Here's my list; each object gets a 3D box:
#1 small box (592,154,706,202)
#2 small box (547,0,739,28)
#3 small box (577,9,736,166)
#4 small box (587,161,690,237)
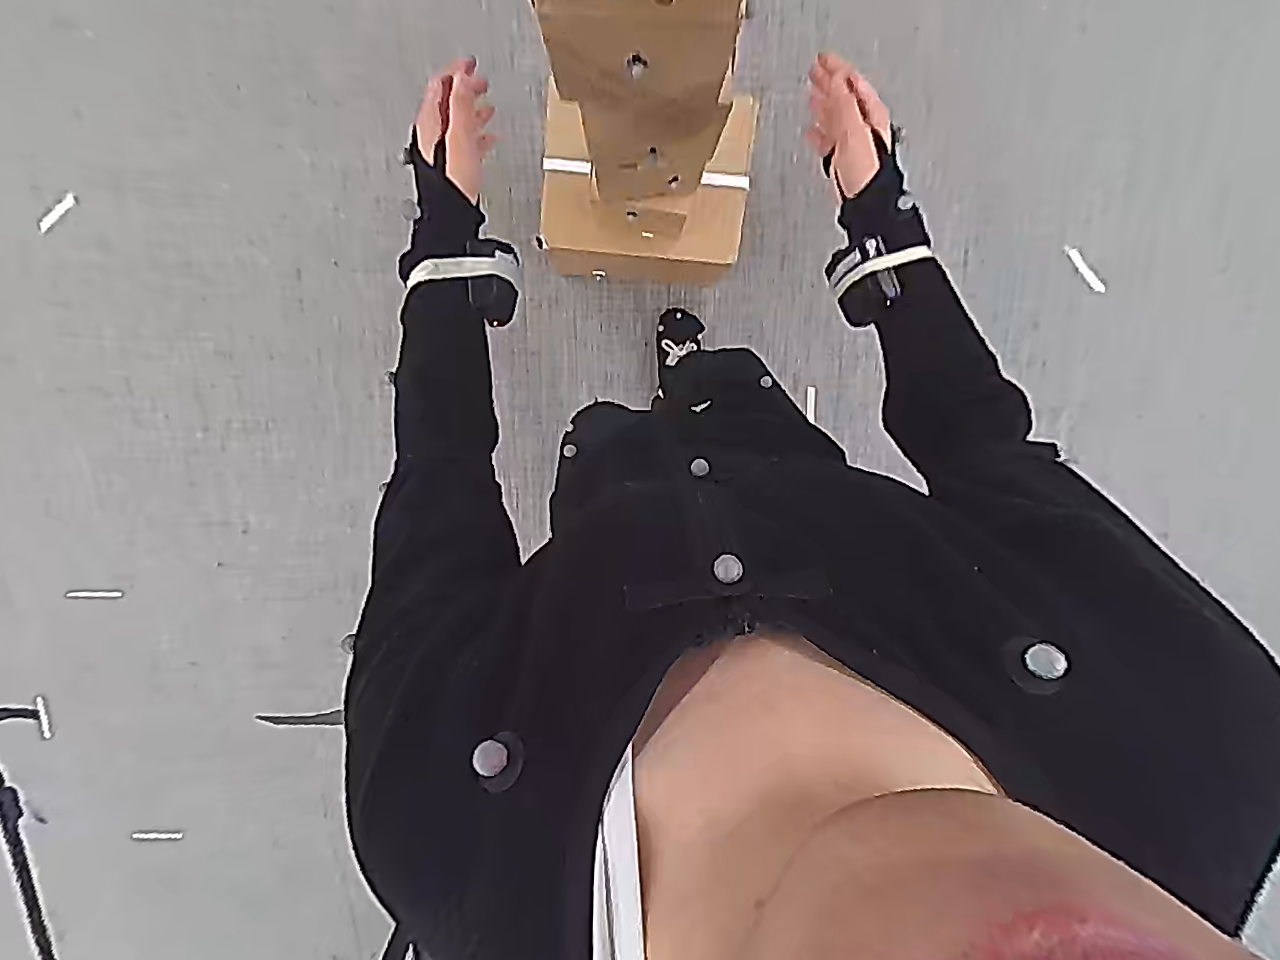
[{"bbox_3d":[0.003,-0.544,0.829,0.168,0.176,0.179,-7,100,-1],"label":"small box"},{"bbox_3d":[0.003,-0.446,0.348,0.168,0.176,0.179,1,102,-2],"label":"small box"},{"bbox_3d":[0.014,-0.509,0.669,0.179,0.176,0.168,-1,101,-2],"label":"small box"},{"bbox_3d":[0.005,-0.560,0.991,0.179,0.176,0.168,8,101,-4],"label":"small box"}]
